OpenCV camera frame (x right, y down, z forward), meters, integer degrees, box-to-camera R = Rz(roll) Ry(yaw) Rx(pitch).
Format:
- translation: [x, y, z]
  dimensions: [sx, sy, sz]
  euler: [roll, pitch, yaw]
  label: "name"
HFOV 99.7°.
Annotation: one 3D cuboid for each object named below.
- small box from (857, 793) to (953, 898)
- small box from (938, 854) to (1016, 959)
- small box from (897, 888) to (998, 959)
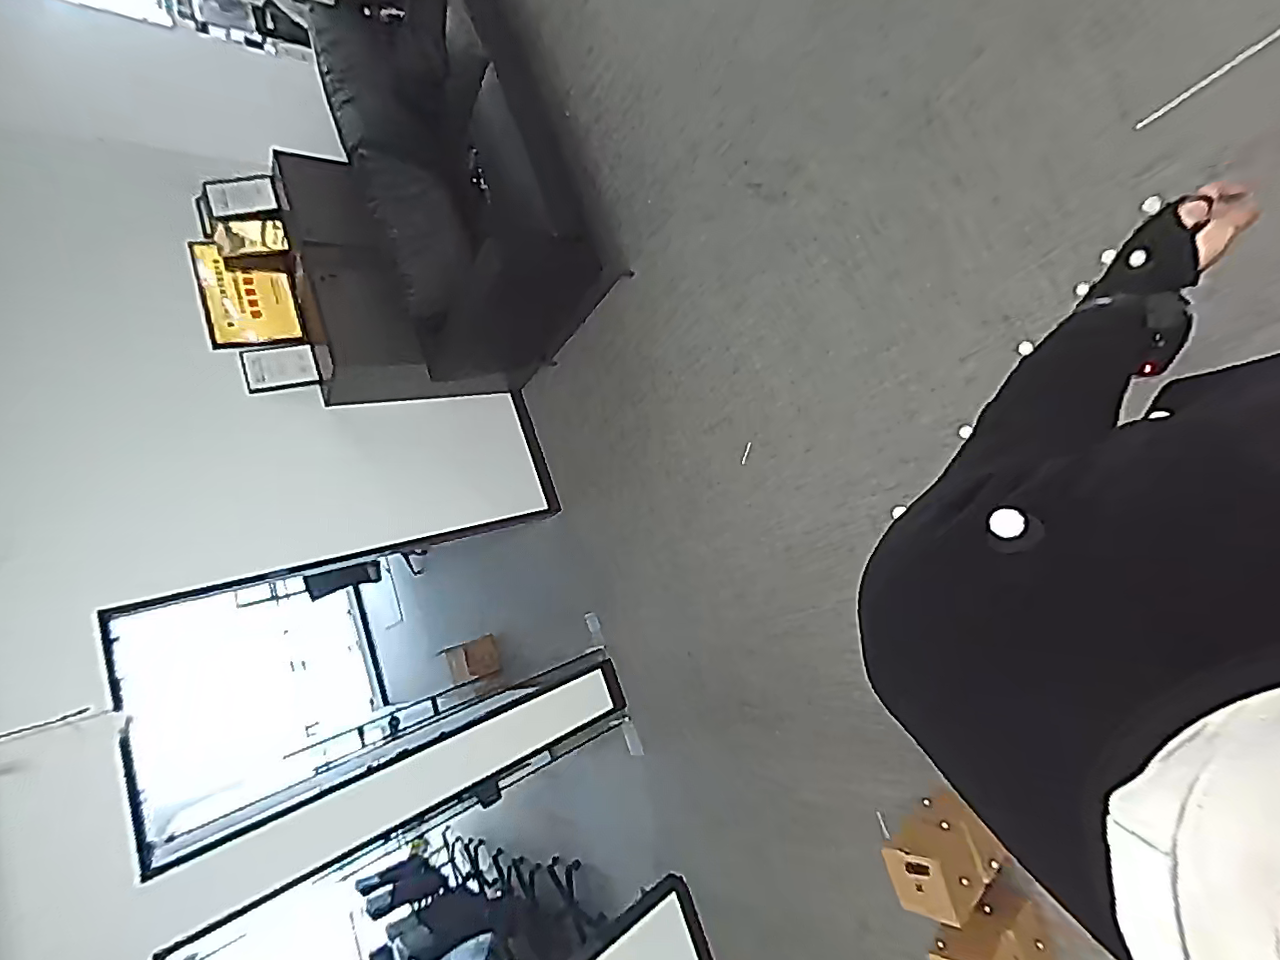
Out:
- translation: [0.770, 1.046, 1.568]
  dimensions: [0.168, 0.176, 0.179]
  euler: [-25, 82, 51]
  label: "small box"
- translation: [0.995, 1.266, 1.623]
  dimensions: [0.179, 0.176, 0.168]
  euler: [-27, 78, 50]
  label: "small box"
- translation: [0.871, 1.293, 1.521]
  dimensions: [0.179, 0.176, 0.168]
  euler: [-31, 77, 50]
  label: "small box"
